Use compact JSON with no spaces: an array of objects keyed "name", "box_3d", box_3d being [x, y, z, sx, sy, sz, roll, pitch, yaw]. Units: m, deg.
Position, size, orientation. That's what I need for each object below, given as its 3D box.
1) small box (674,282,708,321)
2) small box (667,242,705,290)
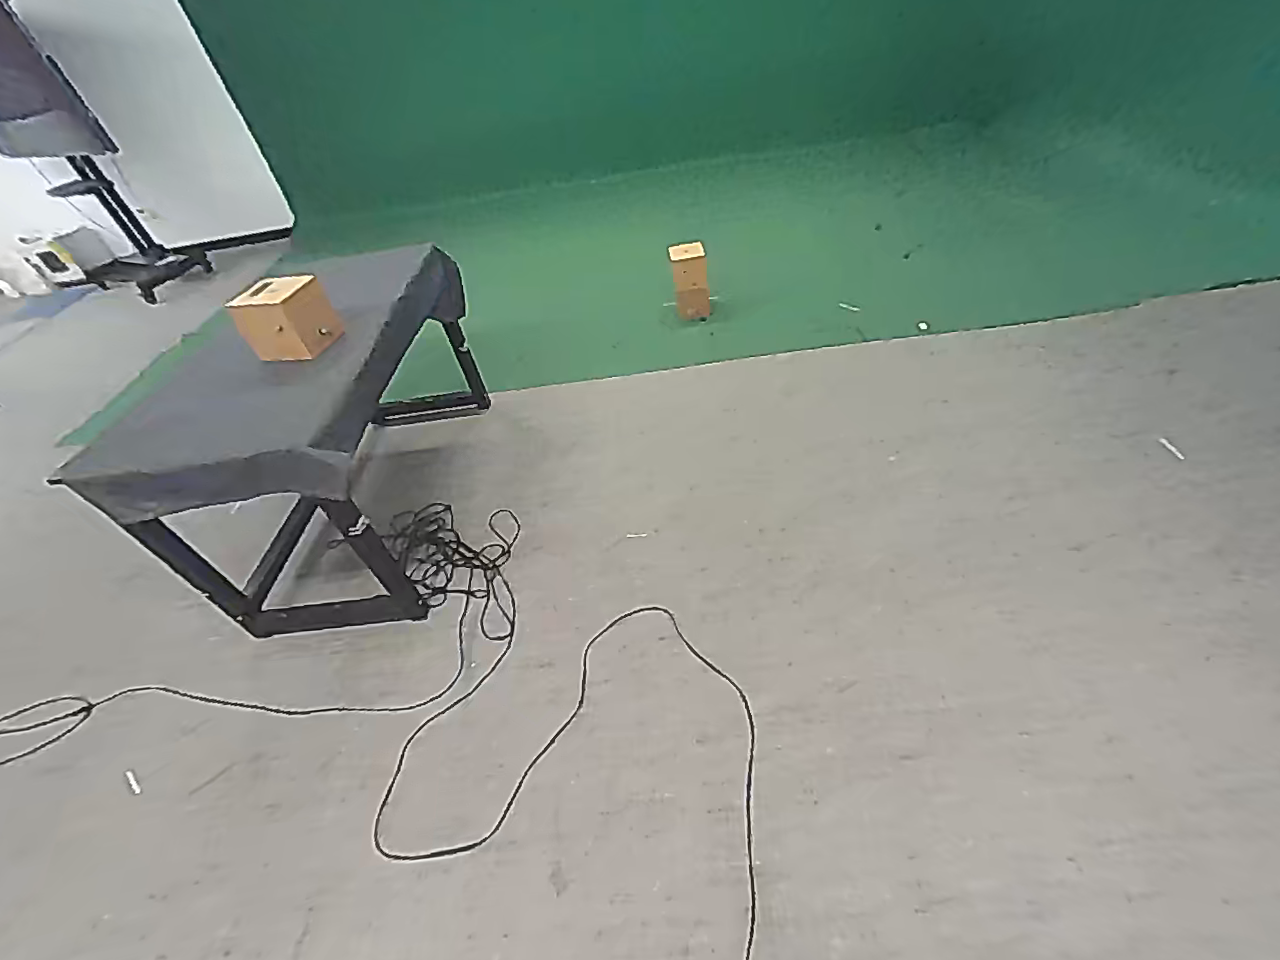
[{"name":"small box","box_3d":[0.267,-0.964,2.851,0.168,0.176,0.179,-8,44,4]},{"name":"small box","box_3d":[0.235,-1.076,2.737,0.168,0.176,0.179,-8,43,4]}]
